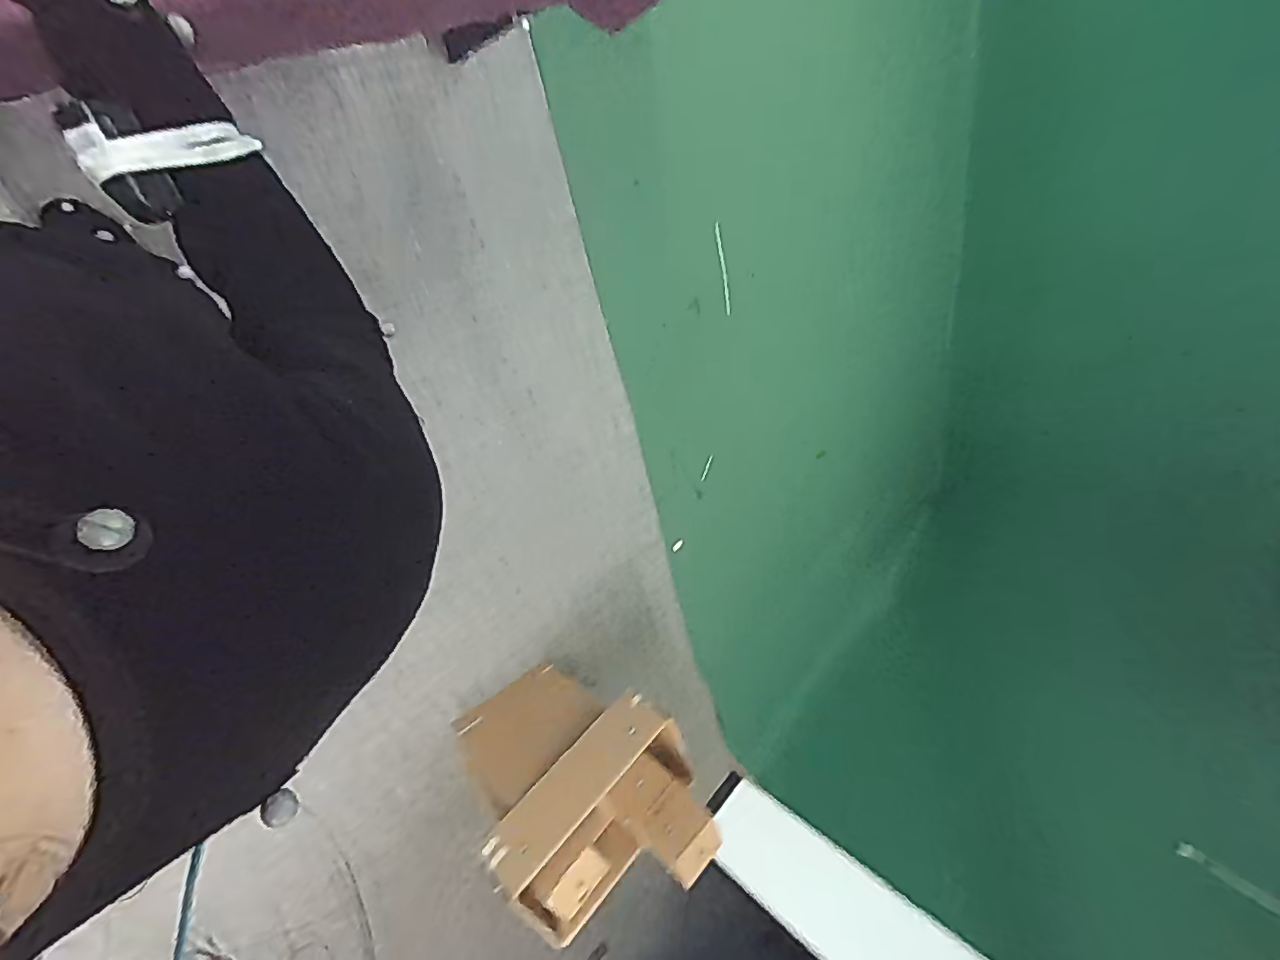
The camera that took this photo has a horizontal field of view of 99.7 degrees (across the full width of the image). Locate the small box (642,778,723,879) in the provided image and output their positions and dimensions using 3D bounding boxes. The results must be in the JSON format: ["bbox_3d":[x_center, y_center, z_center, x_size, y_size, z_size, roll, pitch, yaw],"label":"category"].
[{"bbox_3d":[0.128,1.052,1.649,0.168,0.176,0.179,-36,128,-29],"label":"small box"}]
